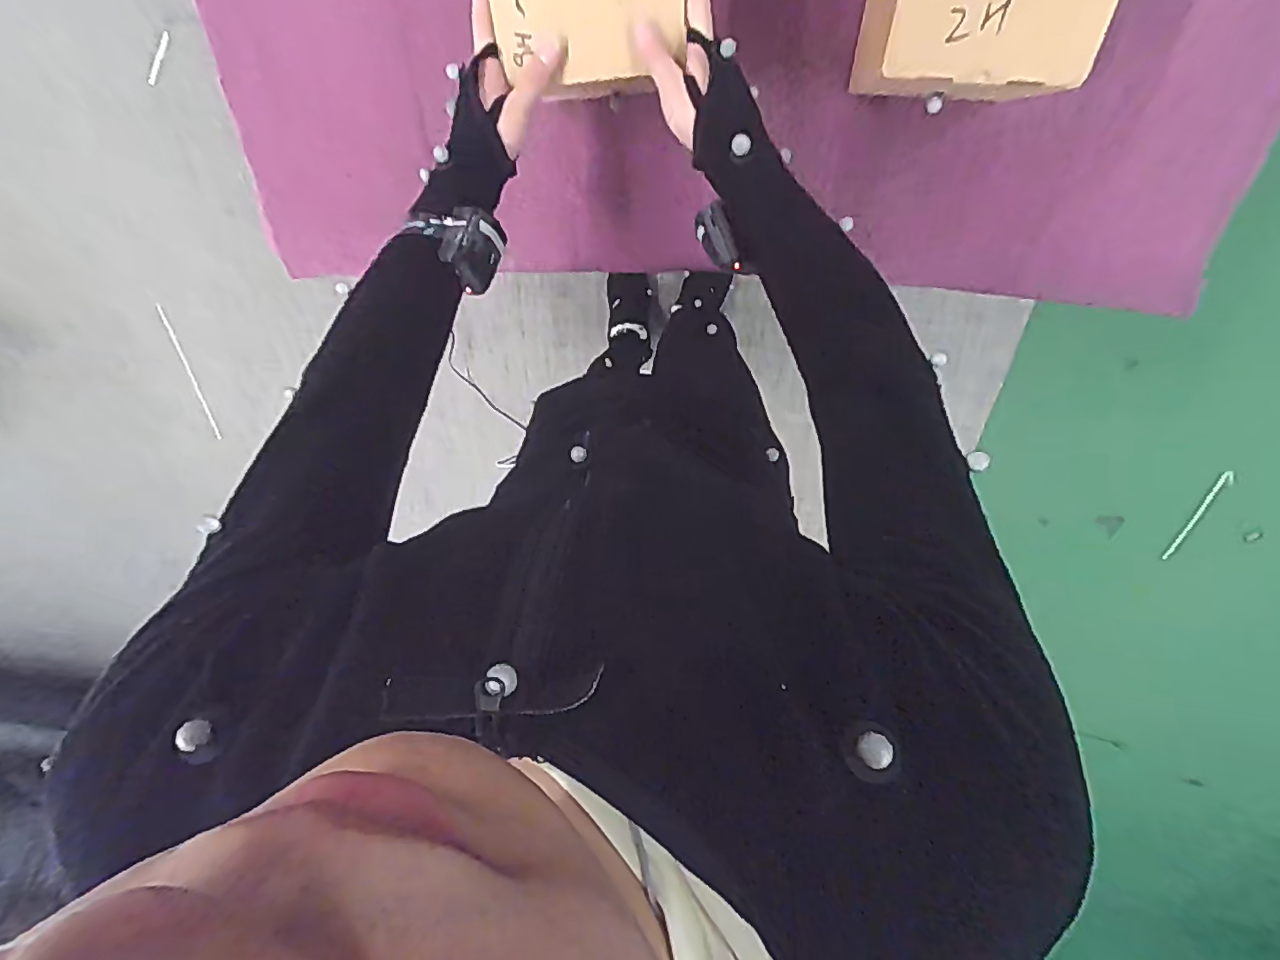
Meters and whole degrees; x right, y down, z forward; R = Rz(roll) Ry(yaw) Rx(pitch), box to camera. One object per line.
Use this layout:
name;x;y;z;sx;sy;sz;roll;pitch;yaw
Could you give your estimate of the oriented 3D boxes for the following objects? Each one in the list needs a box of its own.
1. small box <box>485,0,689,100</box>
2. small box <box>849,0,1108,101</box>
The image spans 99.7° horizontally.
small box;-0.042;-0.472;0.516;0.179;0.176;0.168;0;122;8
small box;0.299;-0.454;0.480;0.168;0.176;0.179;8;123;6
